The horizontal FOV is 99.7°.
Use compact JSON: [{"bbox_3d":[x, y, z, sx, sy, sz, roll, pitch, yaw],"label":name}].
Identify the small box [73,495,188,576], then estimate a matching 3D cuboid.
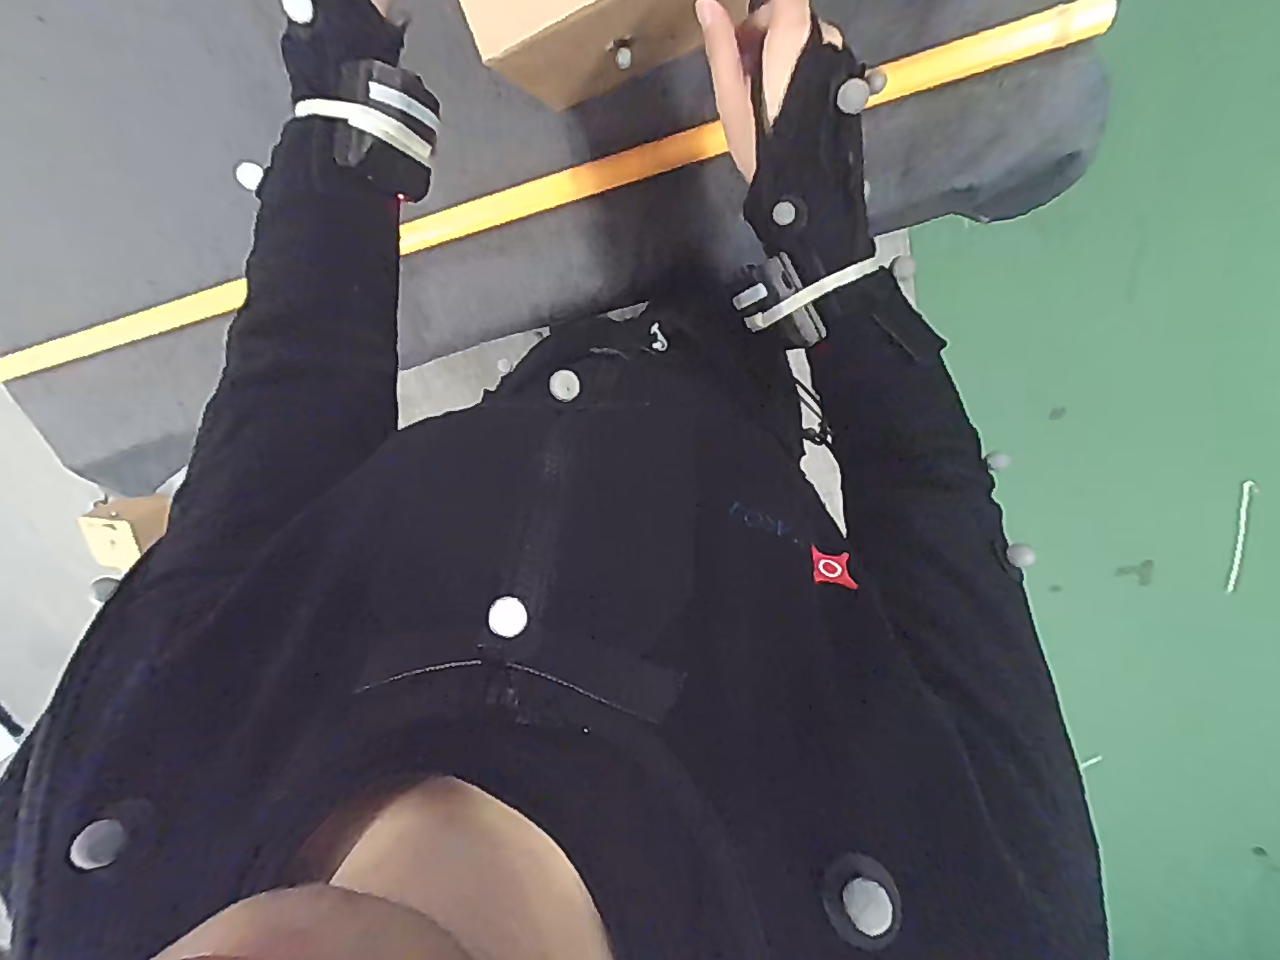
[{"bbox_3d":[-1.538,0.166,1.647,0.168,0.176,0.179,6,115,6],"label":"small box"}]
